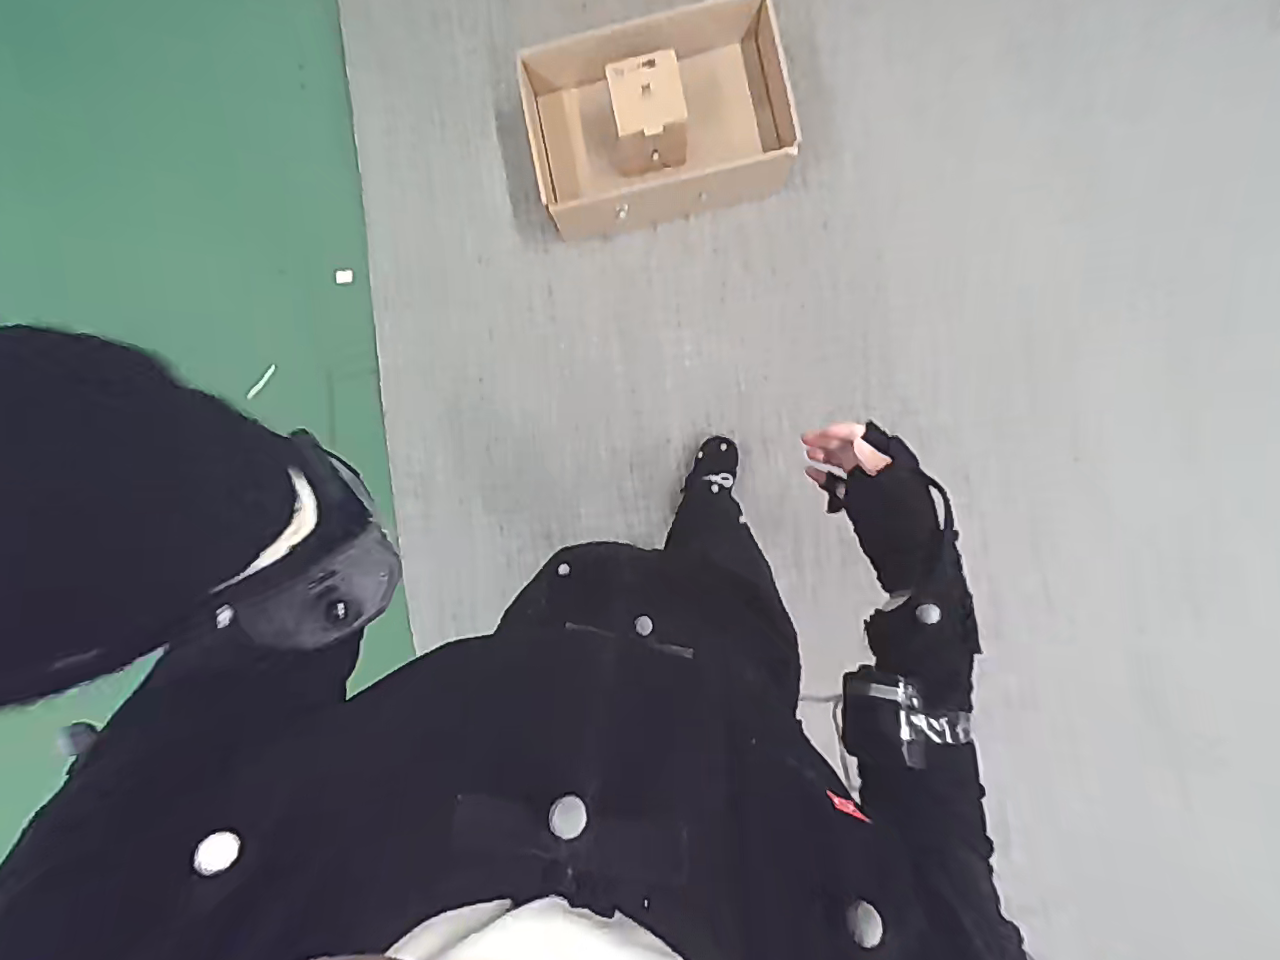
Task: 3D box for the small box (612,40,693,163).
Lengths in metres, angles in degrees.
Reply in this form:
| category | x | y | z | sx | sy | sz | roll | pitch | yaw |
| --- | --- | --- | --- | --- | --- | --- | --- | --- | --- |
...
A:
| category | x | y | z | sx | sy | sz | roll | pitch | yaw |
| --- | --- | --- | --- | --- | --- | --- | --- | --- | --- |
| small box | 0.037 | -0.907 | 1.319 | 0.168 | 0.176 | 0.179 | -11 | 89 | 5 |
